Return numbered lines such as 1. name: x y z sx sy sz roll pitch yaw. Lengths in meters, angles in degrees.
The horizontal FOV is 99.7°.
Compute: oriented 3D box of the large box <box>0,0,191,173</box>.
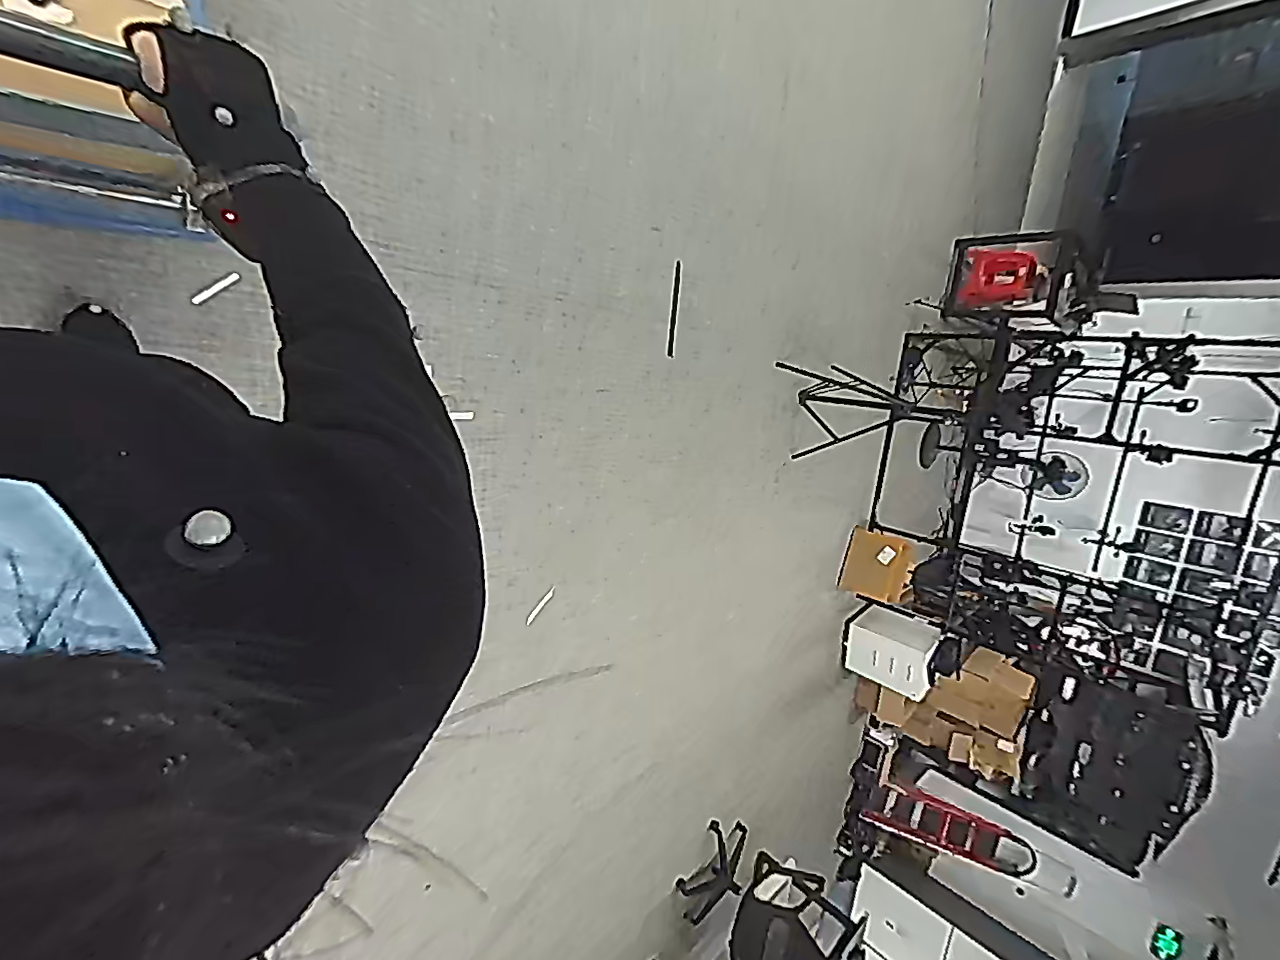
1. large box: -0.852 -0.618 0.663 0.408 0.320 0.320 -11 111 -45
